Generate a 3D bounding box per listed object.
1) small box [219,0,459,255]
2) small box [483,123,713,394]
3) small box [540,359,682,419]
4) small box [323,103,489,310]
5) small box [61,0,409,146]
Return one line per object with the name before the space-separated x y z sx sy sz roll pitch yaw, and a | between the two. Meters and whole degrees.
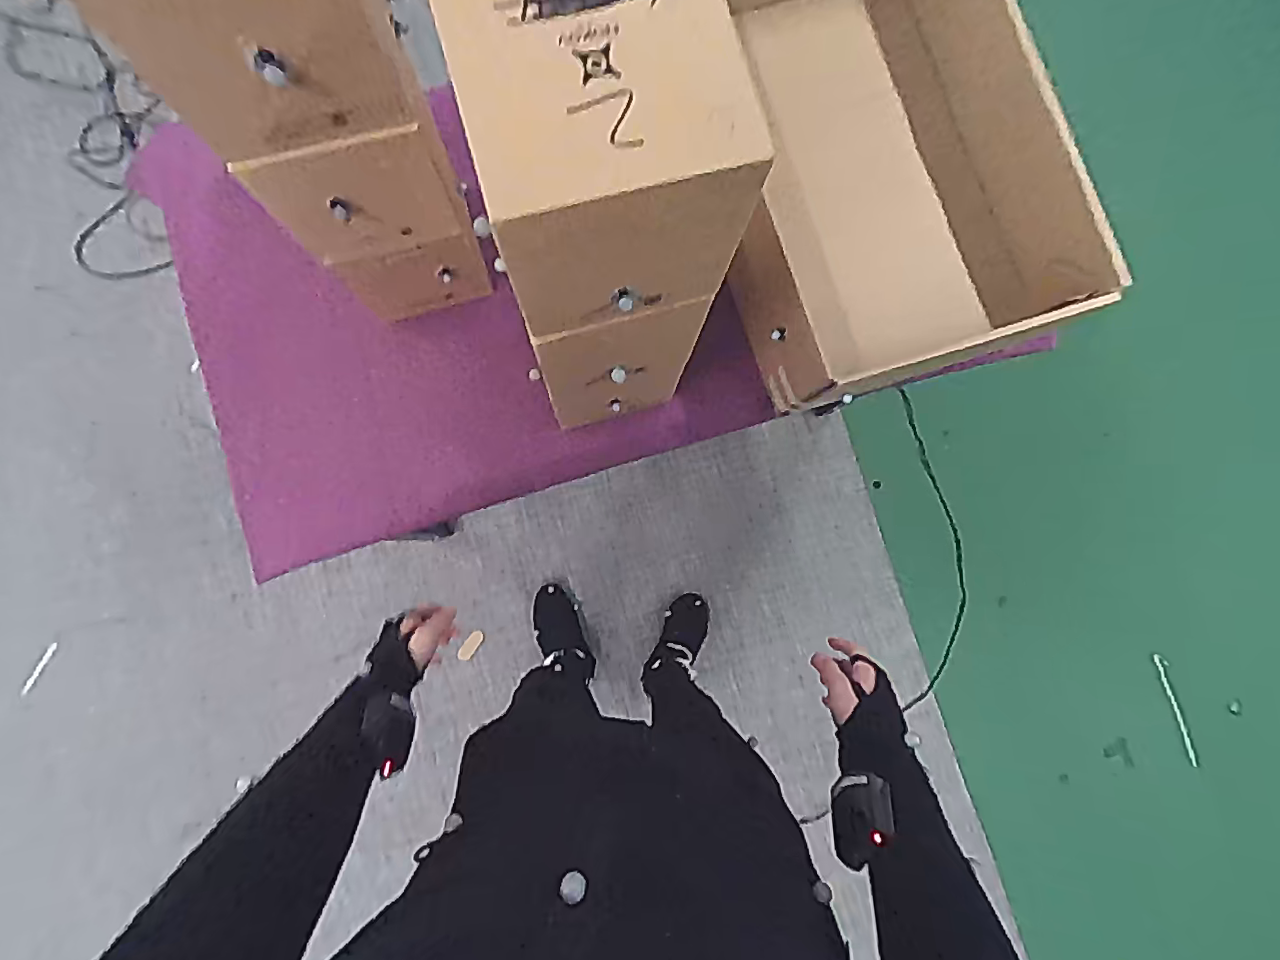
small box | -0.303 -0.357 0.554 0.168 0.176 0.179 -17 85 -6
small box | -0.042 -0.208 0.548 0.168 0.176 0.179 -16 85 -5
small box | -0.053 -0.189 0.710 0.168 0.176 0.179 -16 84 -6
small box | -0.313 -0.344 0.715 0.168 0.176 0.179 -17 85 -6
small box | -0.293 -0.380 0.392 0.168 0.176 0.179 -18 85 -6
